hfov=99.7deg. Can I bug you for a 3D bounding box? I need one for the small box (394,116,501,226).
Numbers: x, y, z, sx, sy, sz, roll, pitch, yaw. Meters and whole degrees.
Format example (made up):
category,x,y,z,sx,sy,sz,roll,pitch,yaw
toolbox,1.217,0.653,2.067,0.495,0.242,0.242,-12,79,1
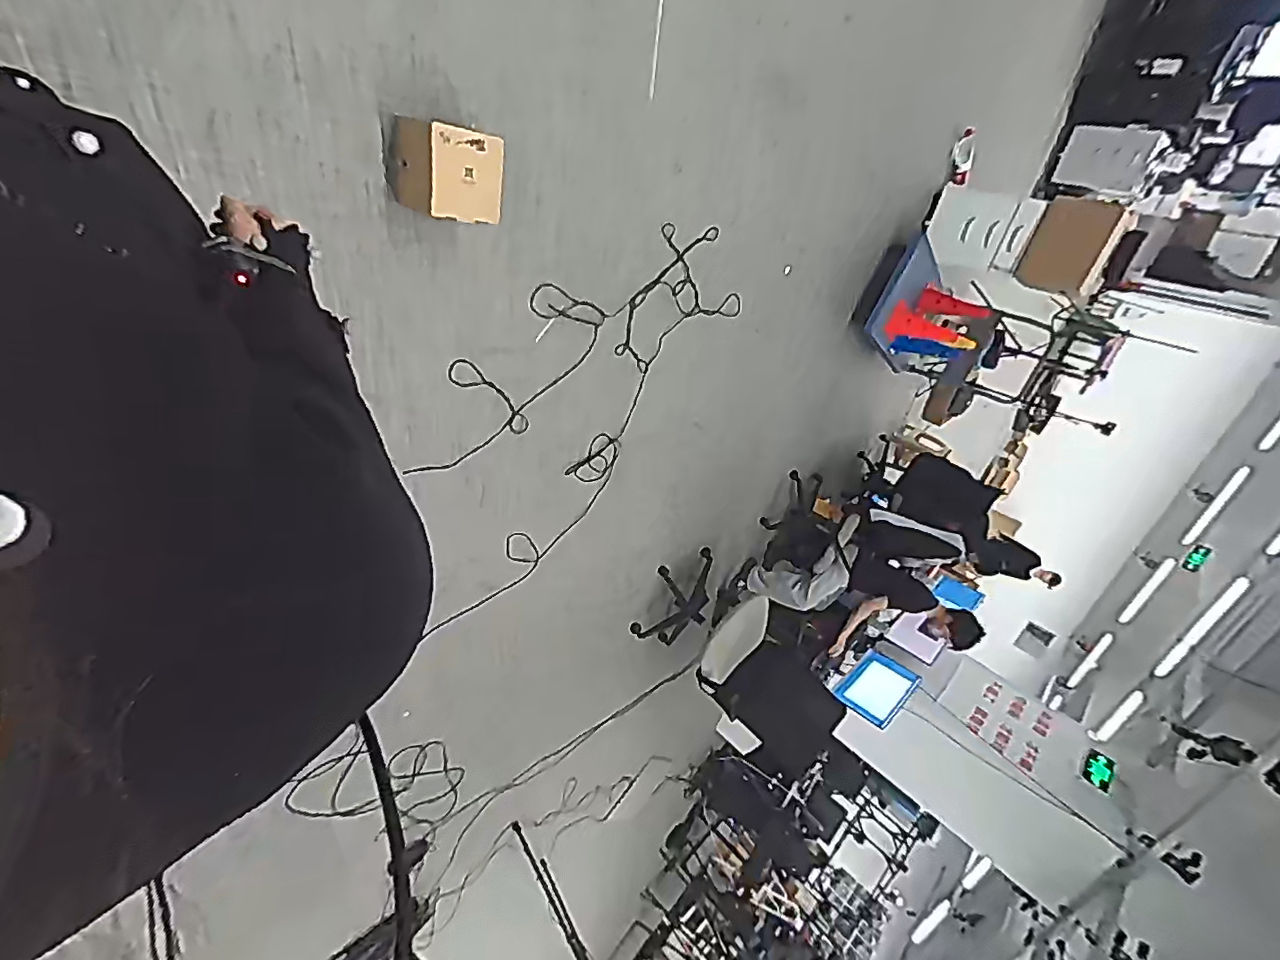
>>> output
category,x,y,z,sx,sy,sz,roll,pitch,yaw
small box,-0.431,-0.684,1.201,0.168,0.176,0.179,-17,130,-43
